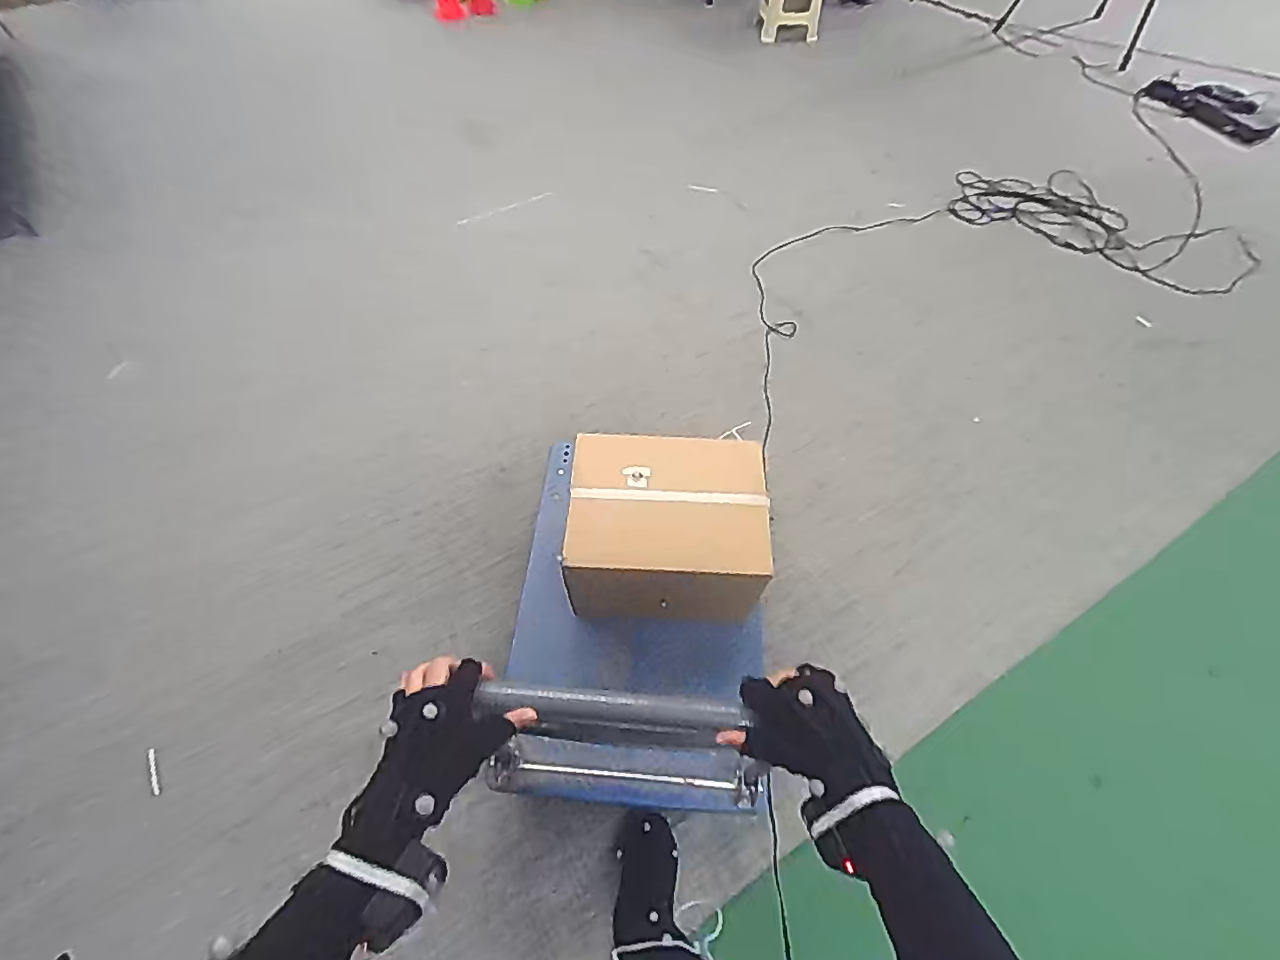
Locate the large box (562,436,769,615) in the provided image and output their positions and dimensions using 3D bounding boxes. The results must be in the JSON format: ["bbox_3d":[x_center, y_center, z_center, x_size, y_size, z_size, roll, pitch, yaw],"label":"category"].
[{"bbox_3d":[0.055,0.112,1.233,0.408,0.320,0.320,2,58,1],"label":"large box"}]
